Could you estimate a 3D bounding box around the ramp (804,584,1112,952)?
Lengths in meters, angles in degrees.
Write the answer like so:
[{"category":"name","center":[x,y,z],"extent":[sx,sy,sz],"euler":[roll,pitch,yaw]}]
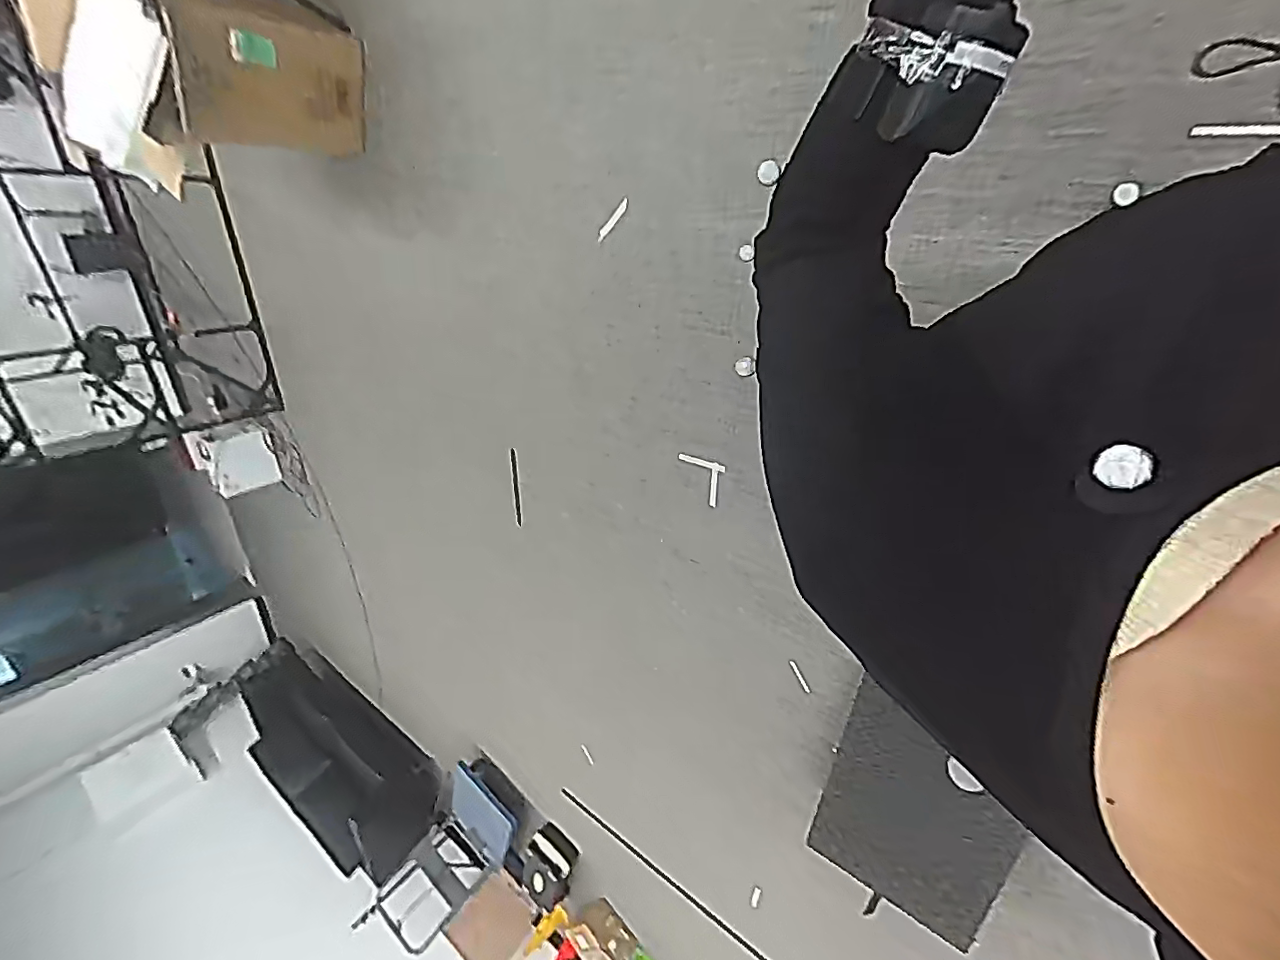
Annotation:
[{"category":"ramp","center":[0.816,0.817,1.523],"extent":[0.509,0.206,0.991],"euler":[21,122,33]}]
